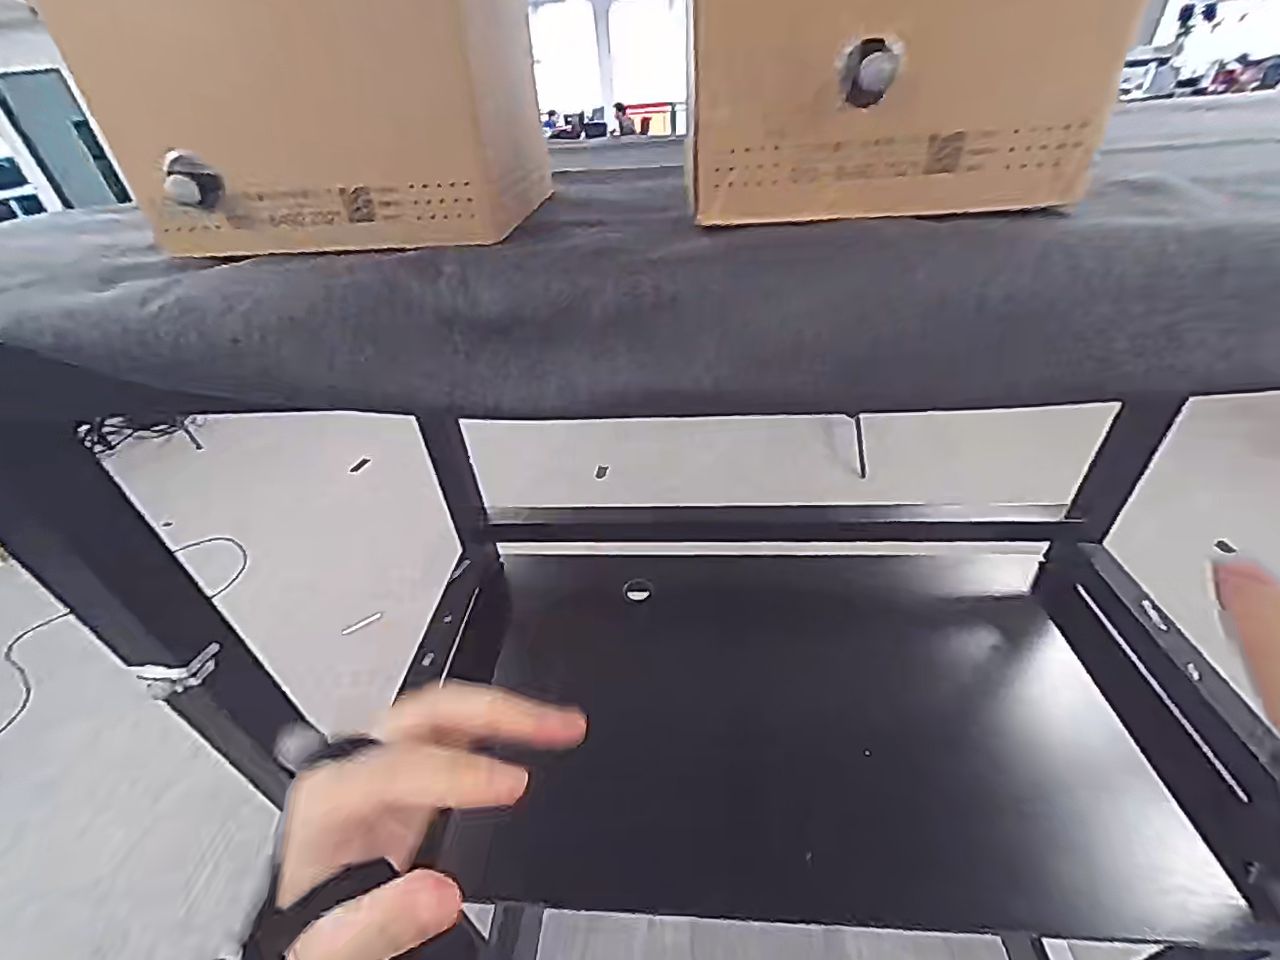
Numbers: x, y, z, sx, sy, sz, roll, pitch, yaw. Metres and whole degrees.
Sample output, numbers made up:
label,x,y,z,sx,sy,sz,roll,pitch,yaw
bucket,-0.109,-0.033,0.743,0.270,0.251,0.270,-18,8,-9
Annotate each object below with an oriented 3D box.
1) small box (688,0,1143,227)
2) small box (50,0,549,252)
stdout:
label,x,y,z,sx,sy,sz,roll,pitch,yaw
small box,0.107,-0.229,0.266,0.168,0.176,0.179,-1,35,5
small box,-0.148,-0.222,0.282,0.168,0.176,0.179,-1,34,2
